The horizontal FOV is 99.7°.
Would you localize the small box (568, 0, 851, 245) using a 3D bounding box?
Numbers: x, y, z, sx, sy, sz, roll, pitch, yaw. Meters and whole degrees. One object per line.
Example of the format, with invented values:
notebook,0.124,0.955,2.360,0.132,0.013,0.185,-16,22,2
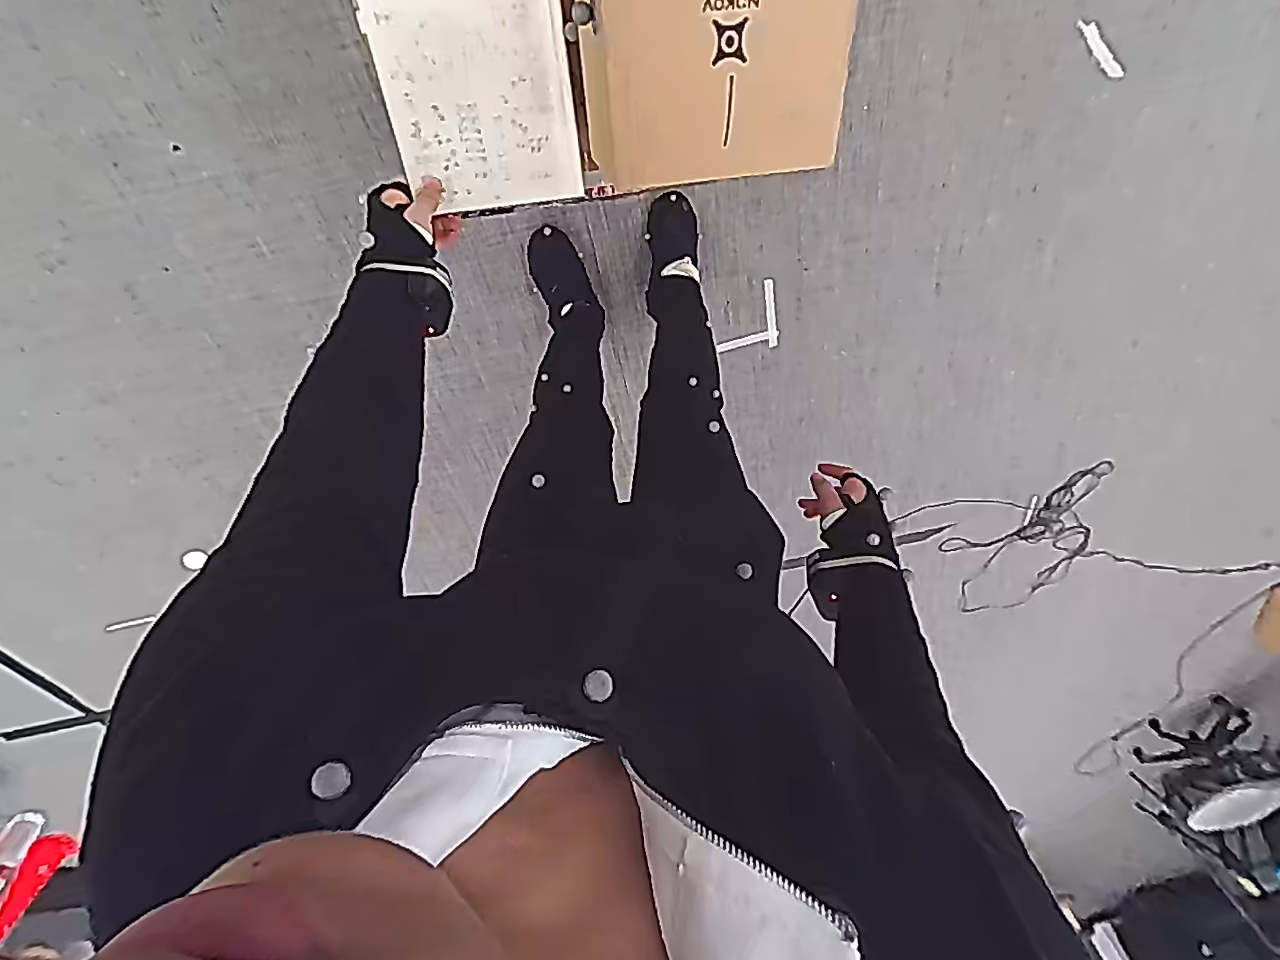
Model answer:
small box,0.039,-0.303,0.421,0.168,0.176,0.179,-9,130,-6
